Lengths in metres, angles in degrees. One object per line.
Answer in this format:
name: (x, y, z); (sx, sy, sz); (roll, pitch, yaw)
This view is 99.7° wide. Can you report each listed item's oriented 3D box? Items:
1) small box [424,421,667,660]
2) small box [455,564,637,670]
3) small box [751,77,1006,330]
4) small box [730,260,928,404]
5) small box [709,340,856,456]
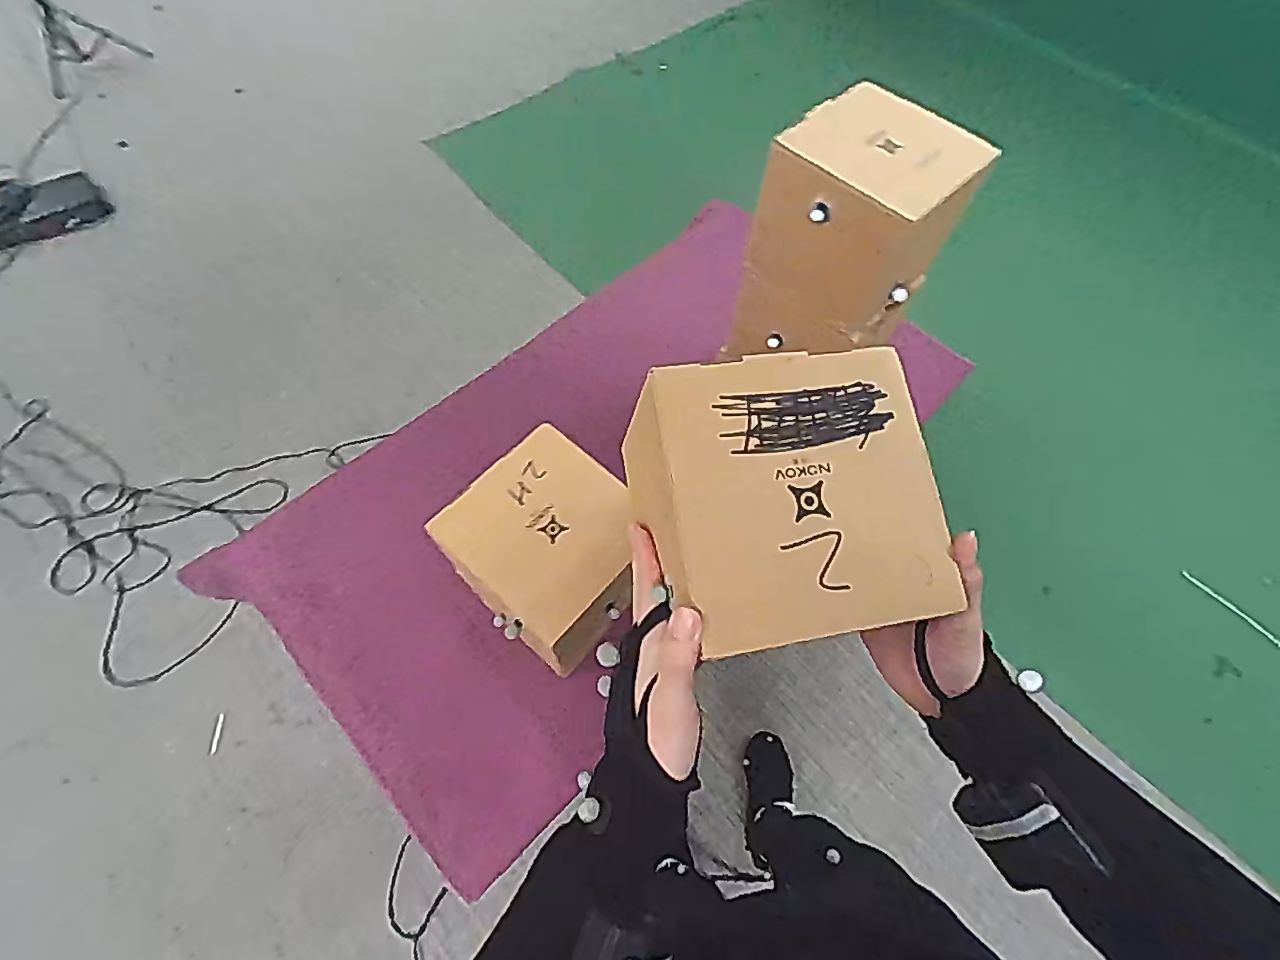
small box: (-0.094, 0.076, 0.590); (0.179, 0.176, 0.168); (39, 67, 15)
small box: (-0.117, 0.138, 0.742); (0.179, 0.176, 0.168); (38, 68, 15)
small box: (0.253, -0.309, 0.621); (0.168, 0.176, 0.179); (-39, 71, -19)
small box: (0.252, -0.233, 0.765); (0.168, 0.176, 0.179); (-40, 70, -20)
small box: (0.239, -0.164, 0.914); (0.179, 0.176, 0.168); (41, 69, 17)
